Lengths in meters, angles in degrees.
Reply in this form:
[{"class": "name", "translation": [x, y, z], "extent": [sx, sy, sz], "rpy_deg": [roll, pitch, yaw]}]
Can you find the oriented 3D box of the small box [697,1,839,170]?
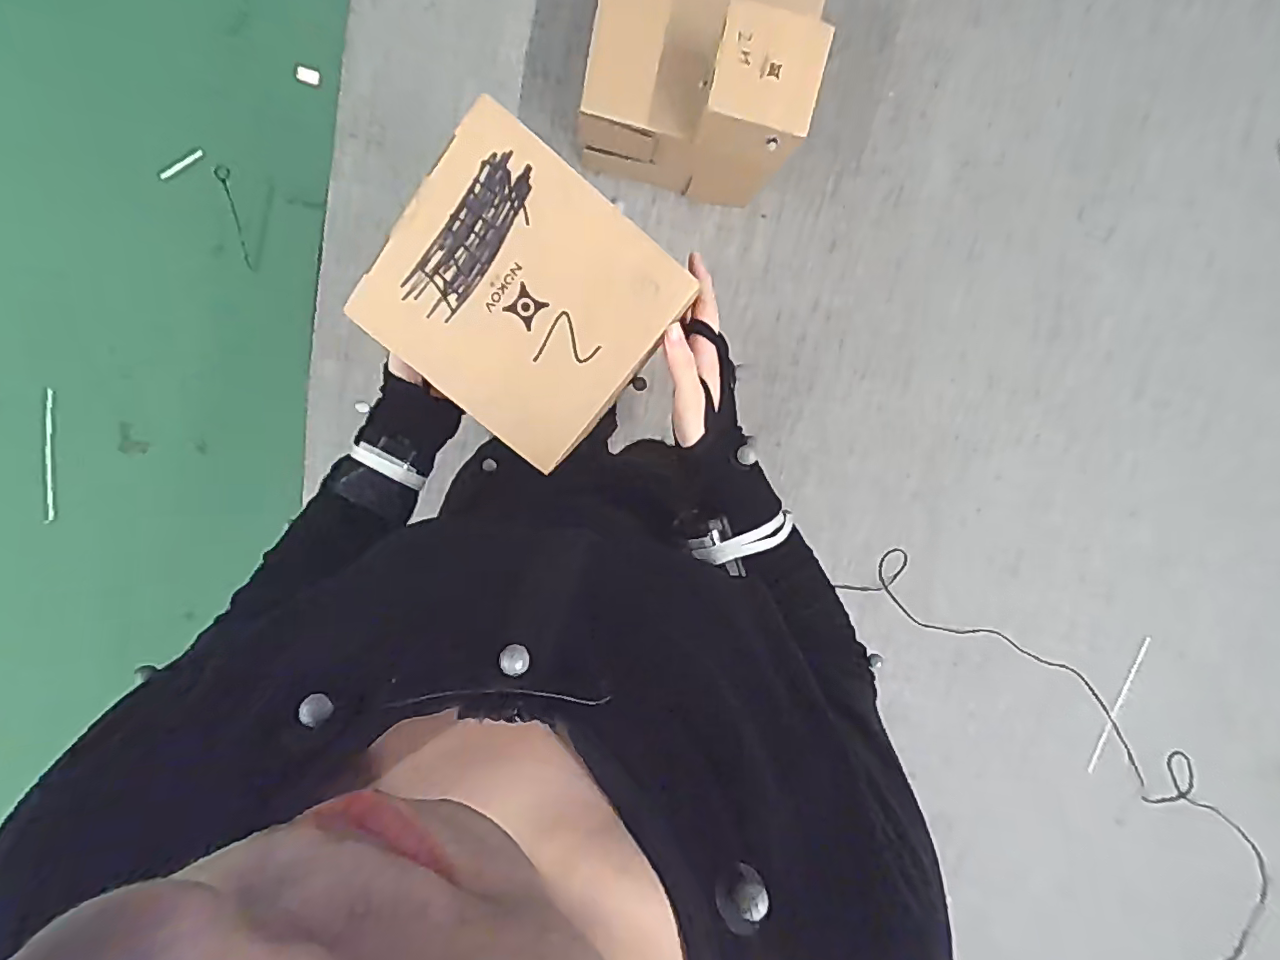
[{"class": "small box", "translation": [0.211, -0.668, 0.943], "extent": [0.179, 0.176, 0.168], "rpy_deg": [13, 101, -5]}]
